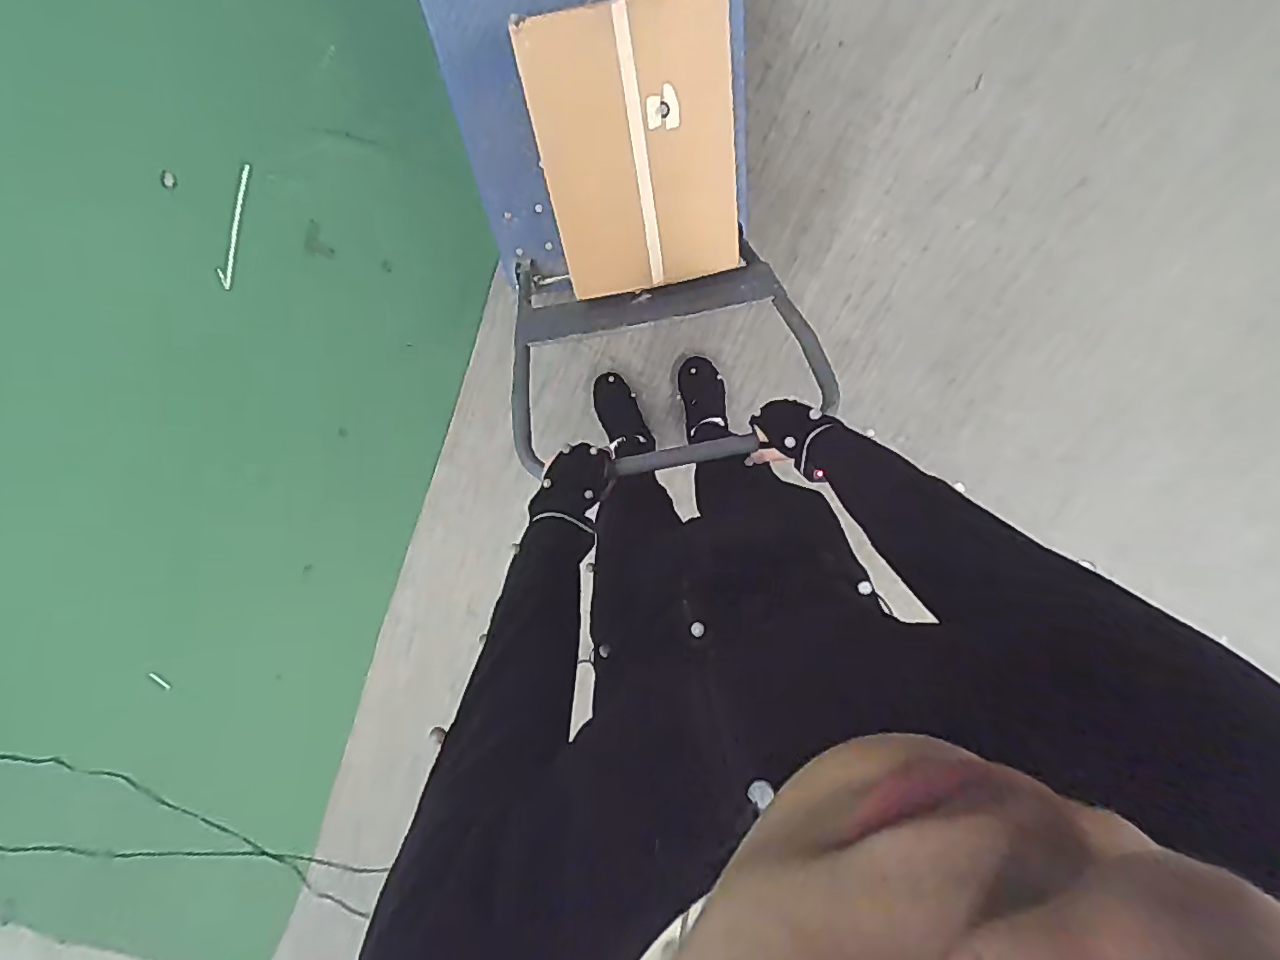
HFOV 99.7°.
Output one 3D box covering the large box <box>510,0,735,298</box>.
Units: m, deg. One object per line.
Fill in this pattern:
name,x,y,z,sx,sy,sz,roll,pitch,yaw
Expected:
large box,-0.019,-0.616,1.013,0.320,0.320,0.408,-11,130,1
